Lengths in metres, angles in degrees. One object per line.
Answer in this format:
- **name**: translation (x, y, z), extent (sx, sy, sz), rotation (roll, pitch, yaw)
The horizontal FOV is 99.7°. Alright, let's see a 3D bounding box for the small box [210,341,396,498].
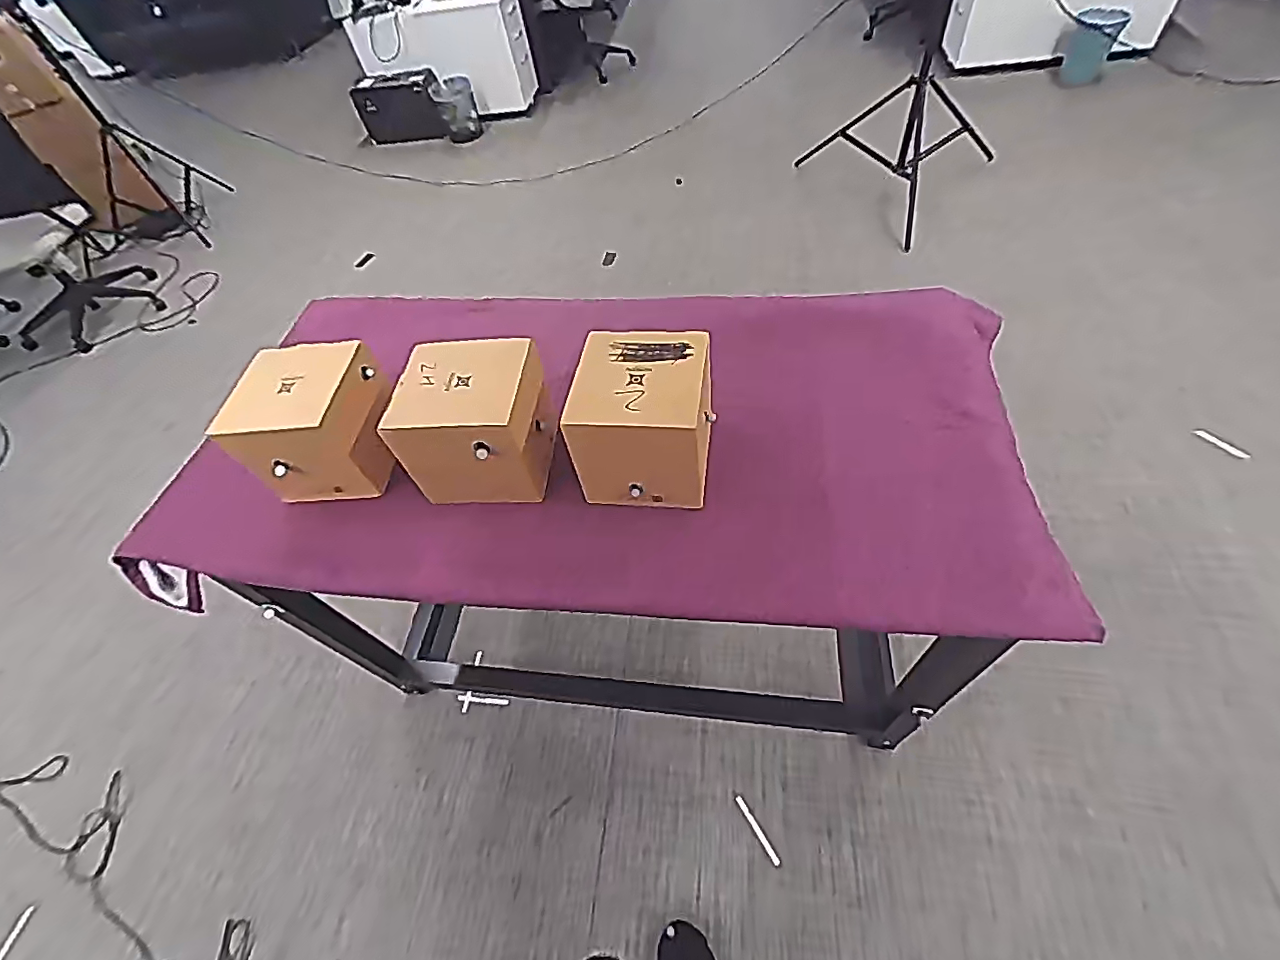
- **small box**: translation (-0.483, -0.083, 0.825), extent (0.168, 0.176, 0.179), rotation (-4, 53, 6)

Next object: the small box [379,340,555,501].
- **small box**: translation (-0.231, -0.081, 0.780), extent (0.179, 0.176, 0.168), rotation (-2, 52, 7)
